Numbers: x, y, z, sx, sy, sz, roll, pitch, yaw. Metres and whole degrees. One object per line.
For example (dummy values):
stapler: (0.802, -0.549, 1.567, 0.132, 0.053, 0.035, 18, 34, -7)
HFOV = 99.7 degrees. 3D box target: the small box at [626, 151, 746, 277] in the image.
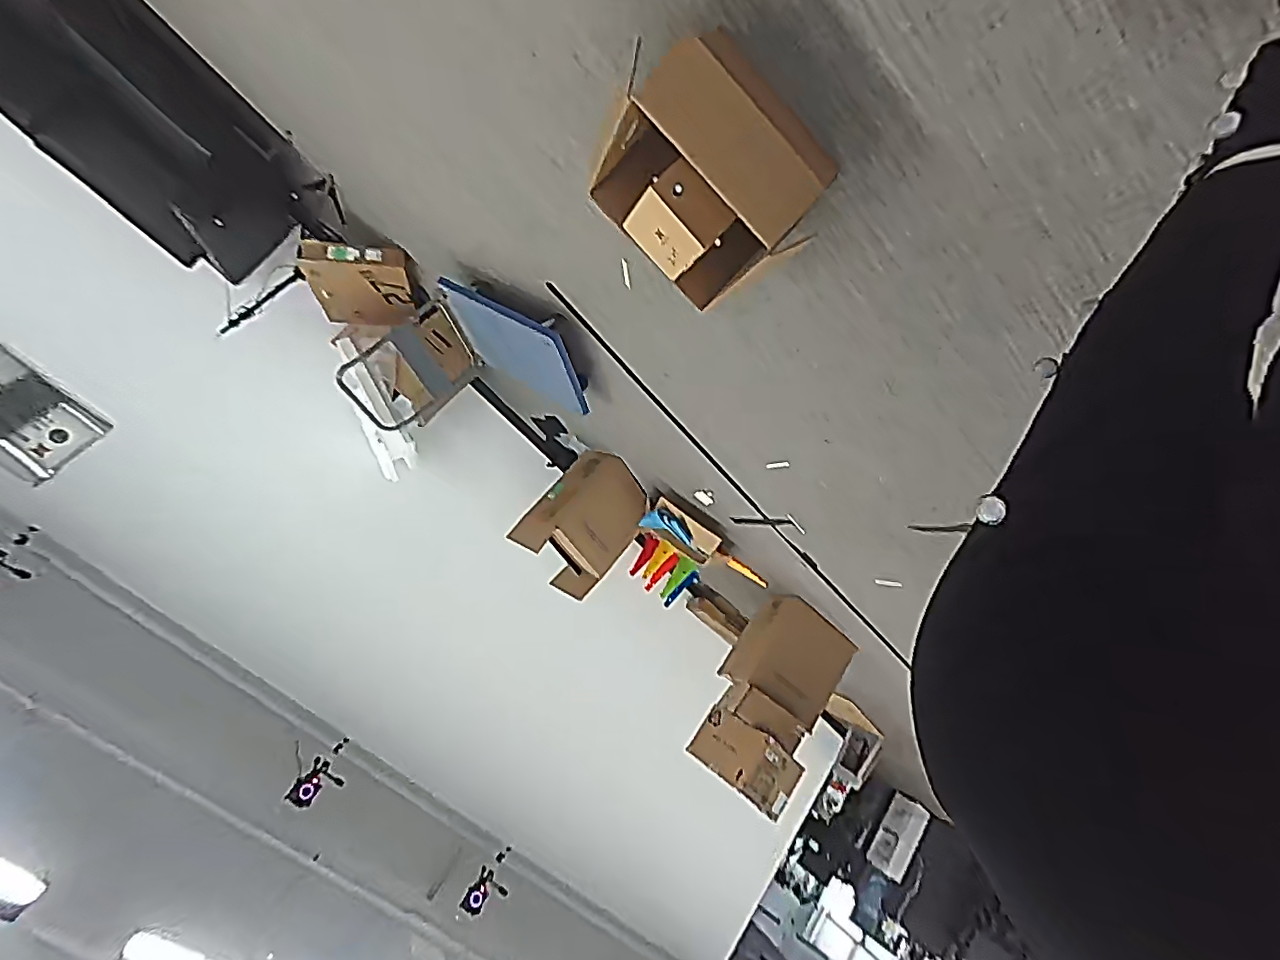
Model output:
small box: (0.104, -0.611, 1.235, 0.179, 0.176, 0.168, 43, 162, -14)
